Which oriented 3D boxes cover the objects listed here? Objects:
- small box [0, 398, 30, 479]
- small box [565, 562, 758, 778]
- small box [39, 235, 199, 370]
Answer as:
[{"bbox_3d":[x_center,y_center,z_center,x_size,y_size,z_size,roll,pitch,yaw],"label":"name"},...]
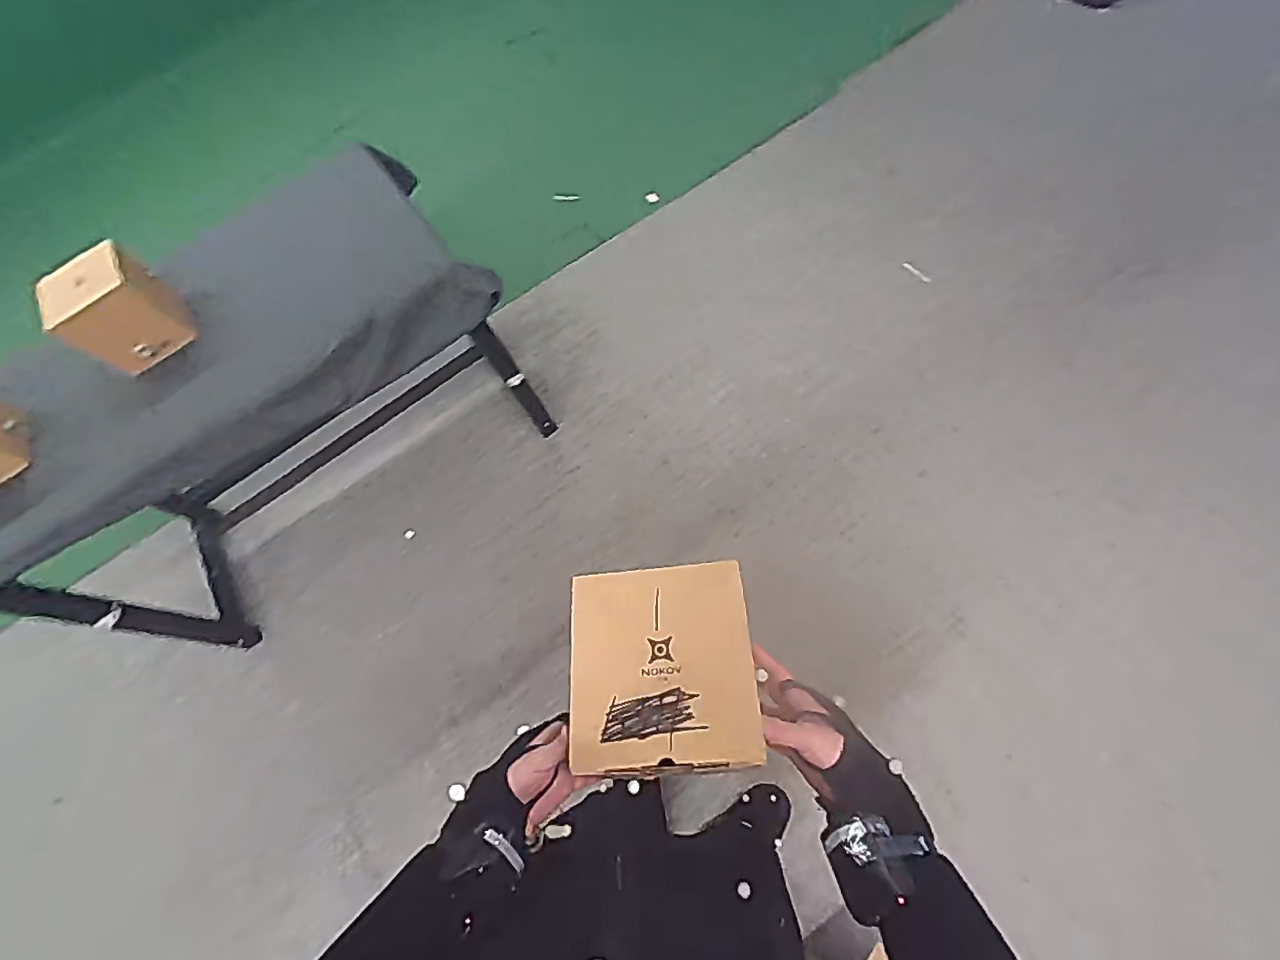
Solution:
[{"bbox_3d":[-1.380,-0.087,1.071,0.168,0.176,0.179,-37,64,-6],"label":"small box"},{"bbox_3d":[0.026,0.200,0.552,0.168,0.176,0.179,-7,59,6],"label":"small box"},{"bbox_3d":[-1.092,-0.368,1.142,0.168,0.176,0.179,-37,66,-5],"label":"small box"}]
